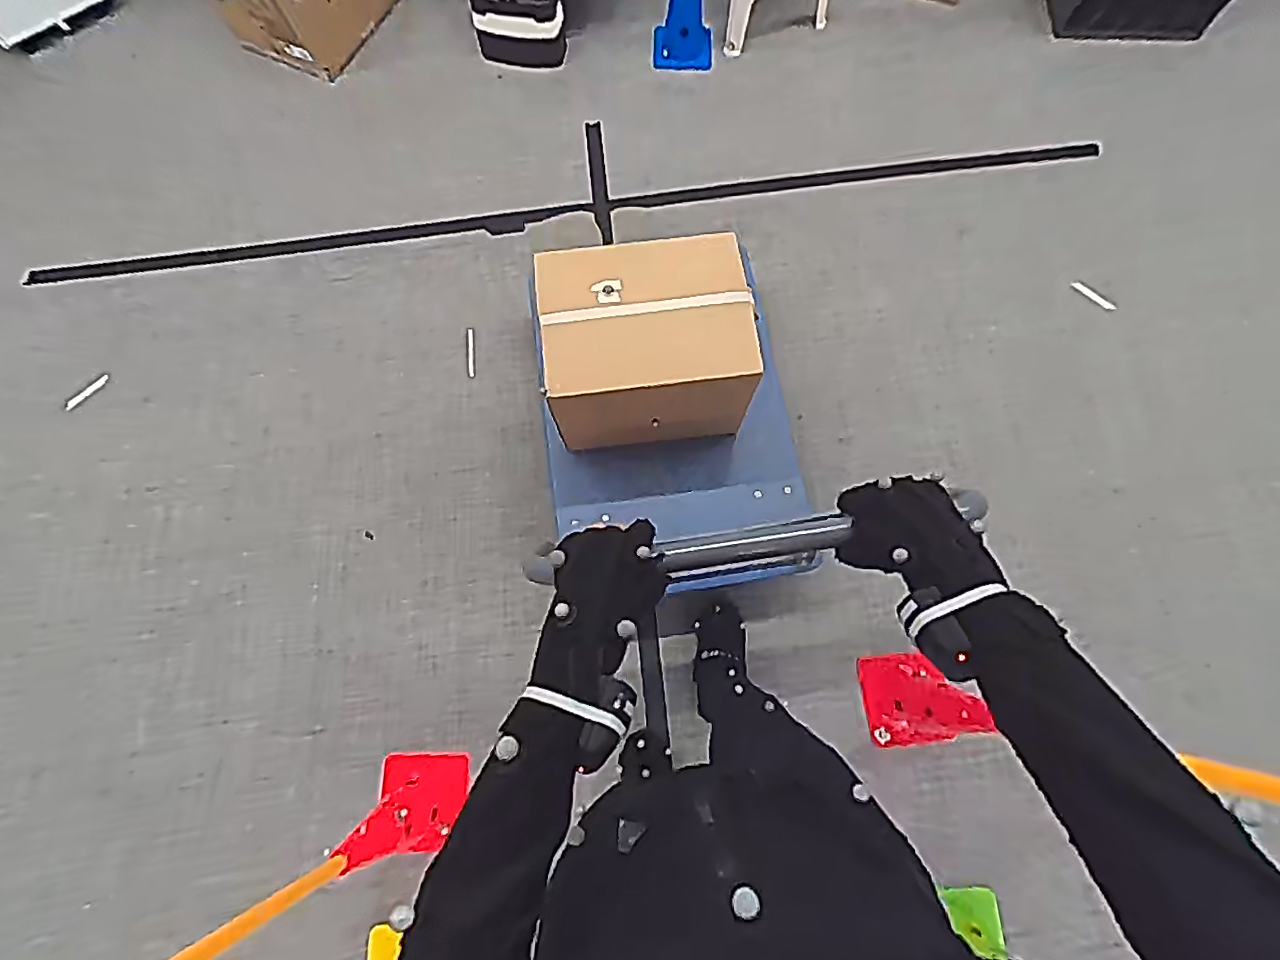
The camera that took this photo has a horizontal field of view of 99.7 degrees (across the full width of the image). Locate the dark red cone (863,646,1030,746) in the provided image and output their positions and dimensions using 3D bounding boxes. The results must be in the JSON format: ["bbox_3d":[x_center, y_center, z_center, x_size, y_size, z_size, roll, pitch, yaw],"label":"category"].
[{"bbox_3d":[0.628,0.447,1.086,0.201,0.394,0.202,-7,74,-3],"label":"dark red cone"}]

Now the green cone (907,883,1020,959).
[{"bbox_3d":[0.670,0.915,0.963,0.202,0.368,0.200,-3,73,-1],"label":"green cone"}]

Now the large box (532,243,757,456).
[{"bbox_3d":[0.007,-0.263,1.181,0.408,0.320,0.320,-8,74,-1],"label":"large box"}]

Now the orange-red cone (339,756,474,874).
[{"bbox_3d":[-0.481,0.681,1.060,0.198,0.360,0.199,0,72,0],"label":"orange-red cone"}]
